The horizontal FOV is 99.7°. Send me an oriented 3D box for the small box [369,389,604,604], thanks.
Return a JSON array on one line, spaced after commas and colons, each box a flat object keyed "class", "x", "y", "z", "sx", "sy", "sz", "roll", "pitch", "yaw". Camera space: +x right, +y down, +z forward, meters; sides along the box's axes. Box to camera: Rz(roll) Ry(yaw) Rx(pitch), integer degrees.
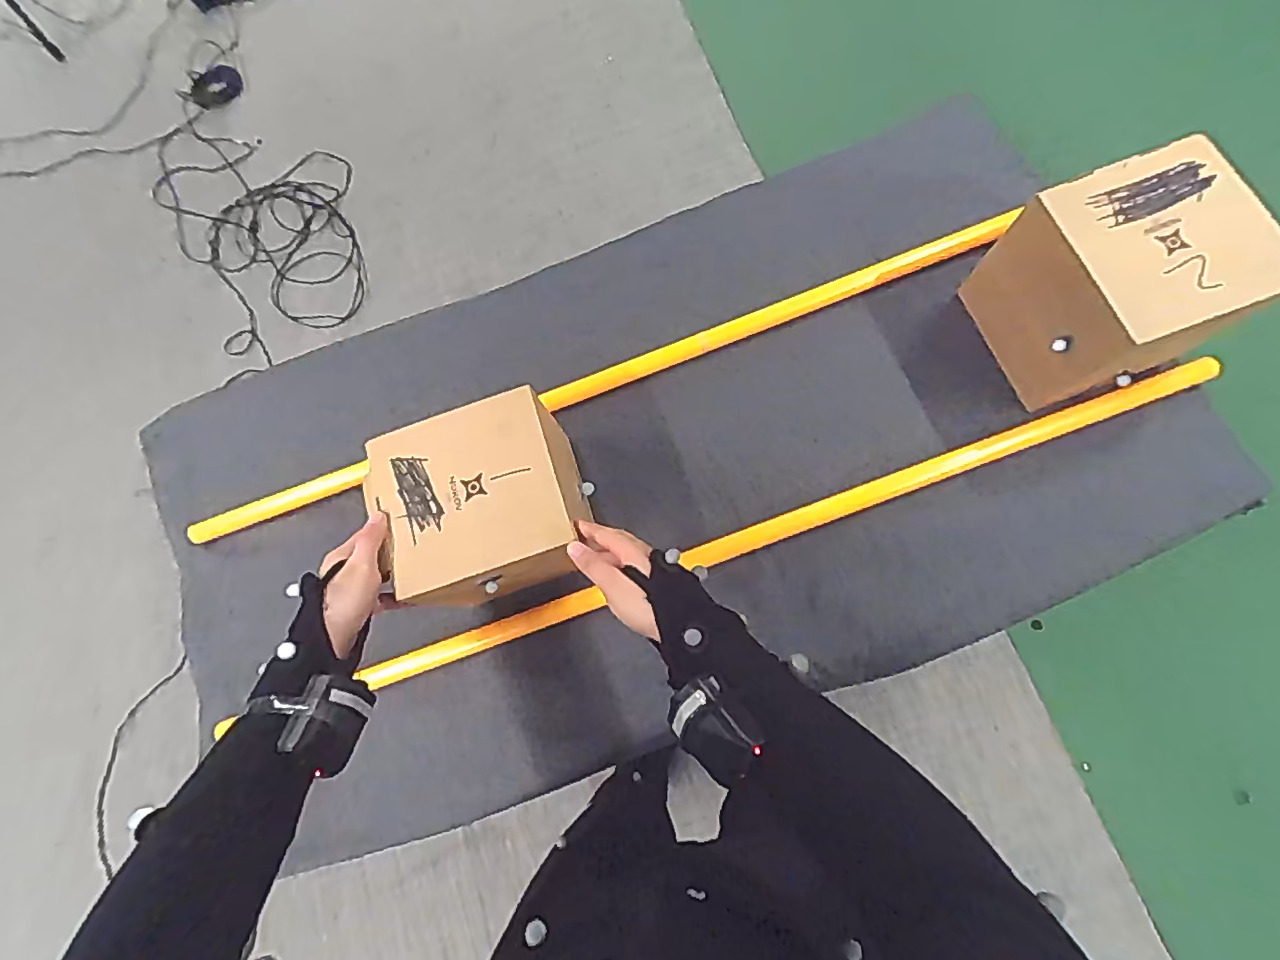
[{"class": "small box", "x": -0.154, "y": 0.031, "z": 0.587, "sx": 0.179, "sy": 0.176, "sz": 0.168, "roll": -19, "pitch": 75, "yaw": 1}]
